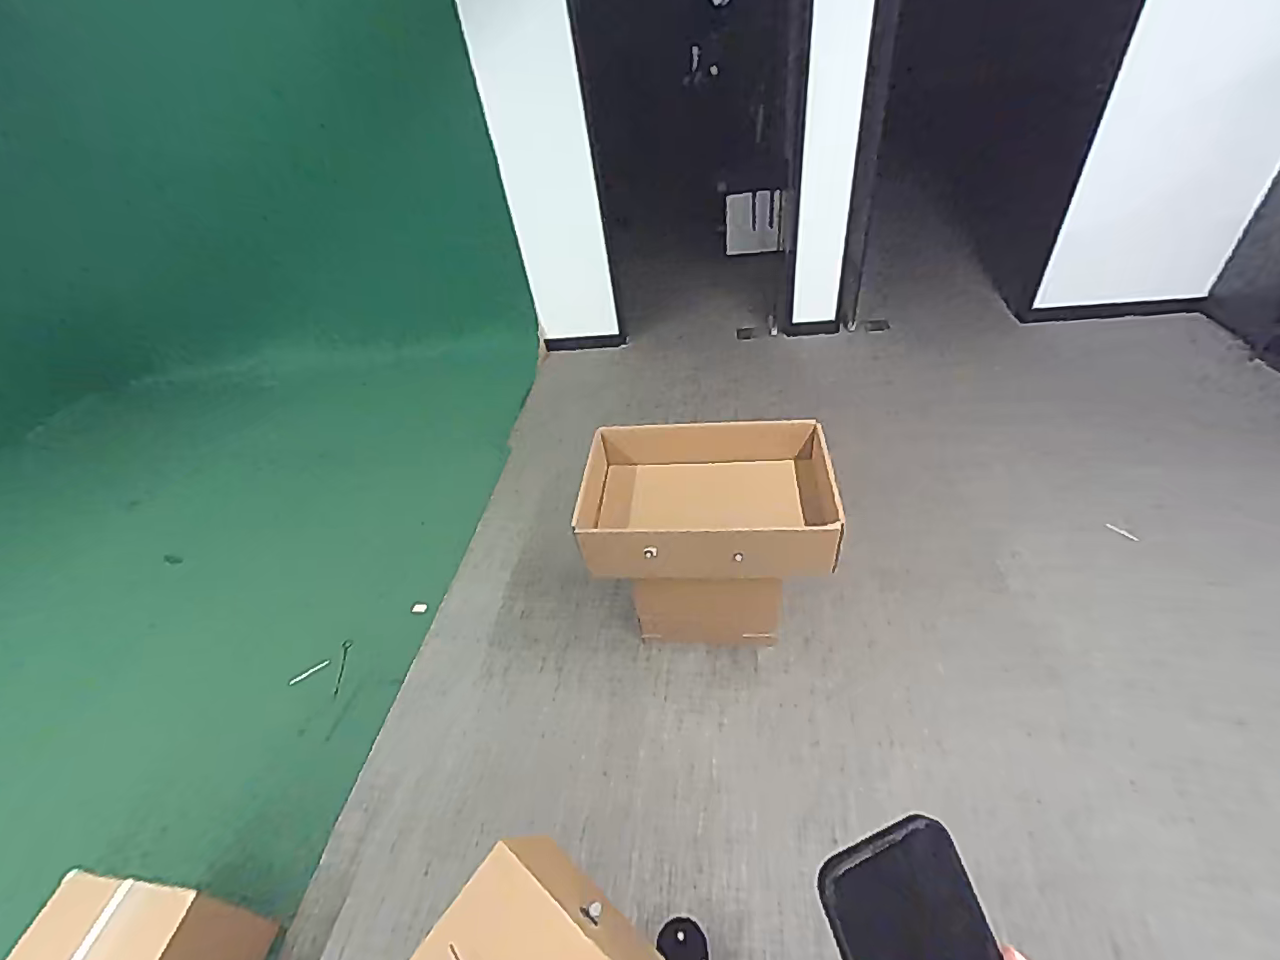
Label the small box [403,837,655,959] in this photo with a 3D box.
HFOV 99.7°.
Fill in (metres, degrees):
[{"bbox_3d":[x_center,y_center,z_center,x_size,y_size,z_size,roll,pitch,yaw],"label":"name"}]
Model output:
[{"bbox_3d":[-0.103,0.468,0.506,0.179,0.176,0.168,31,66,26],"label":"small box"}]
